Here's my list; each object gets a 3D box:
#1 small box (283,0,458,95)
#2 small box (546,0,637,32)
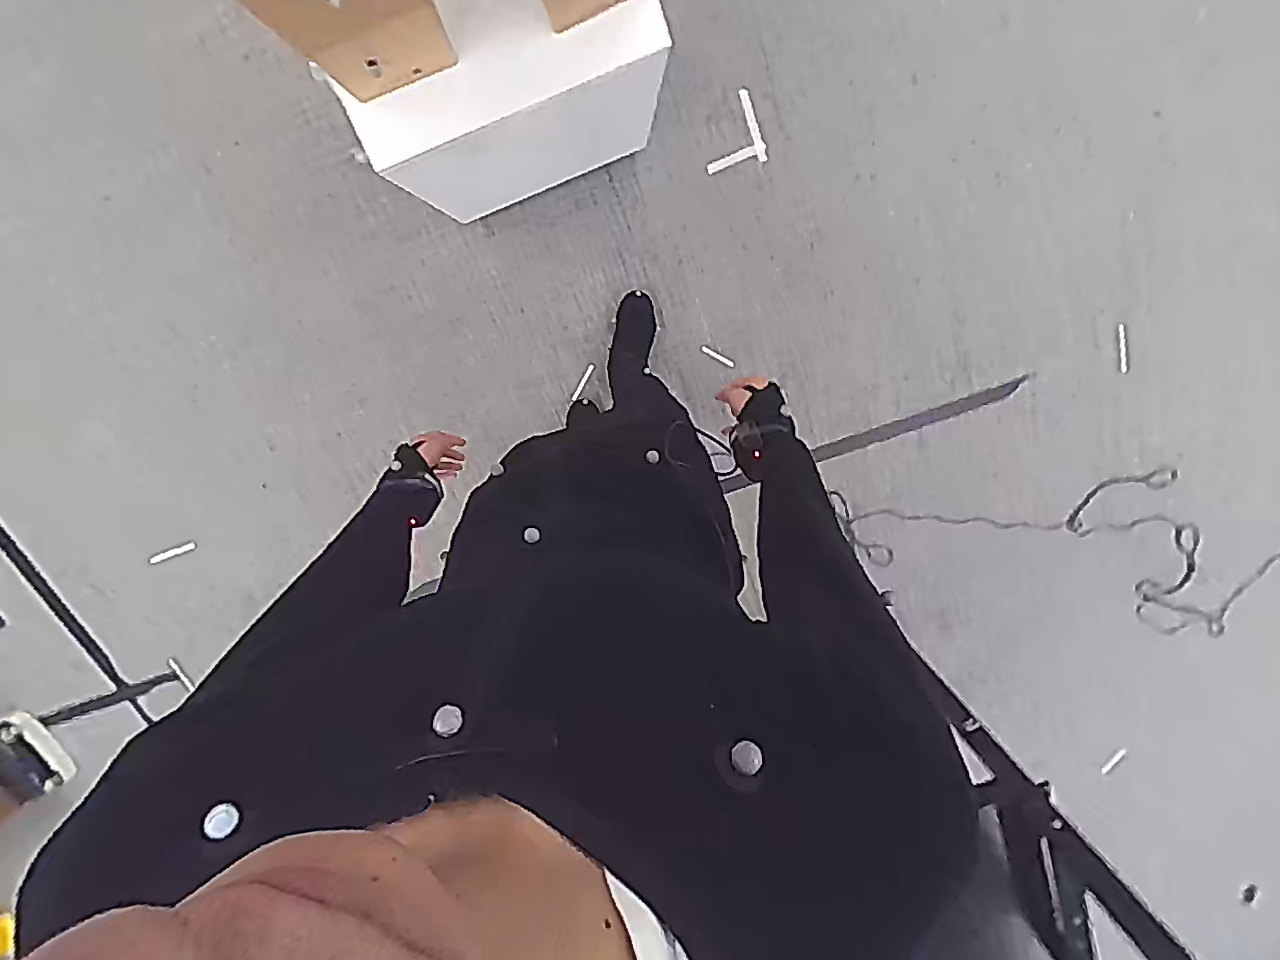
[{"bbox_3d":[-0.370,-0.656,0.726,0.168,0.176,0.179,-20,107,3],"label":"small box"},{"bbox_3d":[-0.078,-0.752,0.708,0.168,0.176,0.179,-22,107,6],"label":"small box"}]
